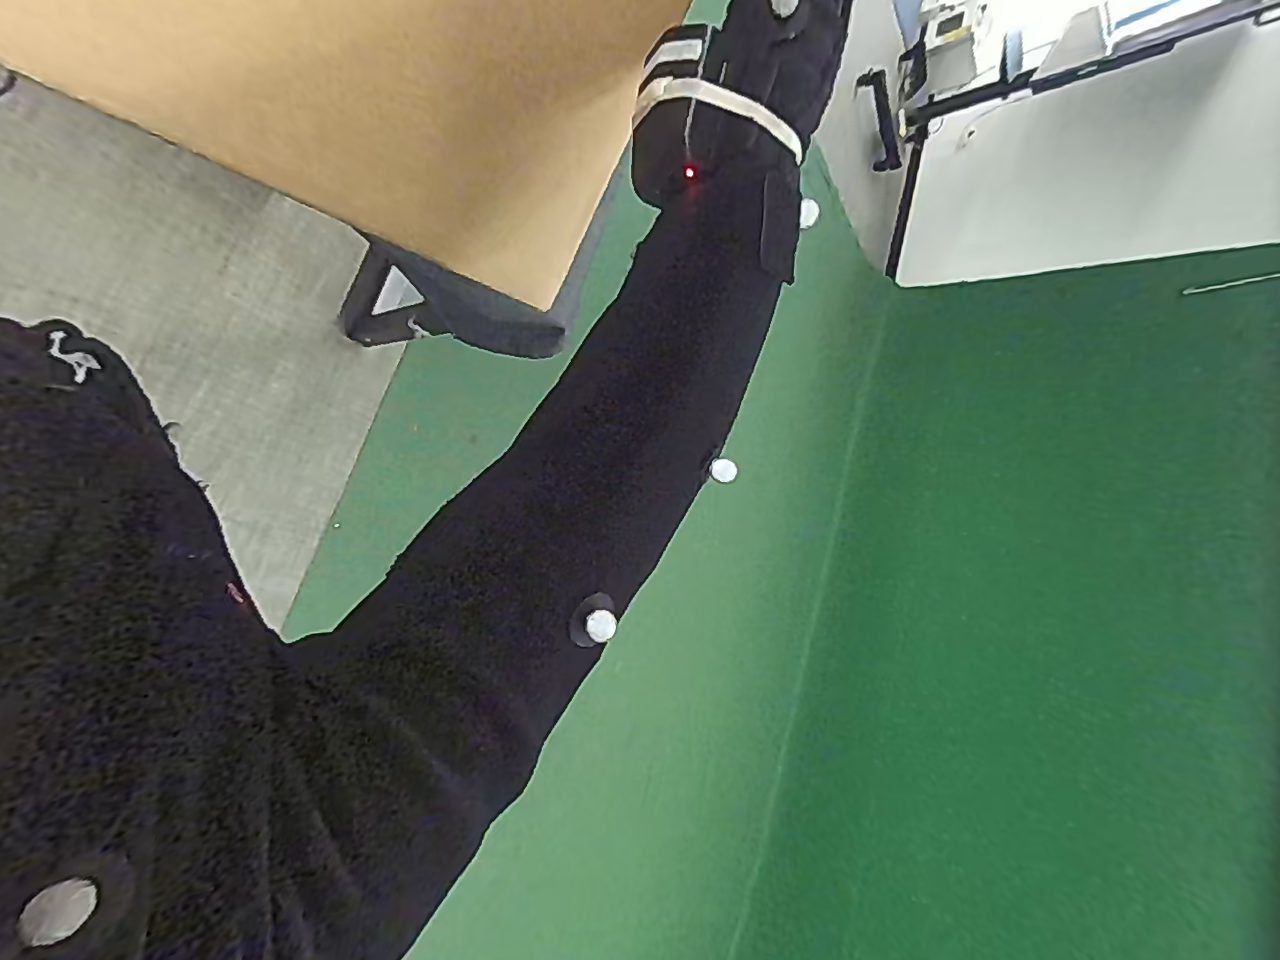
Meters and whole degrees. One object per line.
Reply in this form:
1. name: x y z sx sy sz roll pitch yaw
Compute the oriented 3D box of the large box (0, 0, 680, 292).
1. large box: -0.211 -0.365 0.310 0.408 0.320 0.320 13 117 -38
